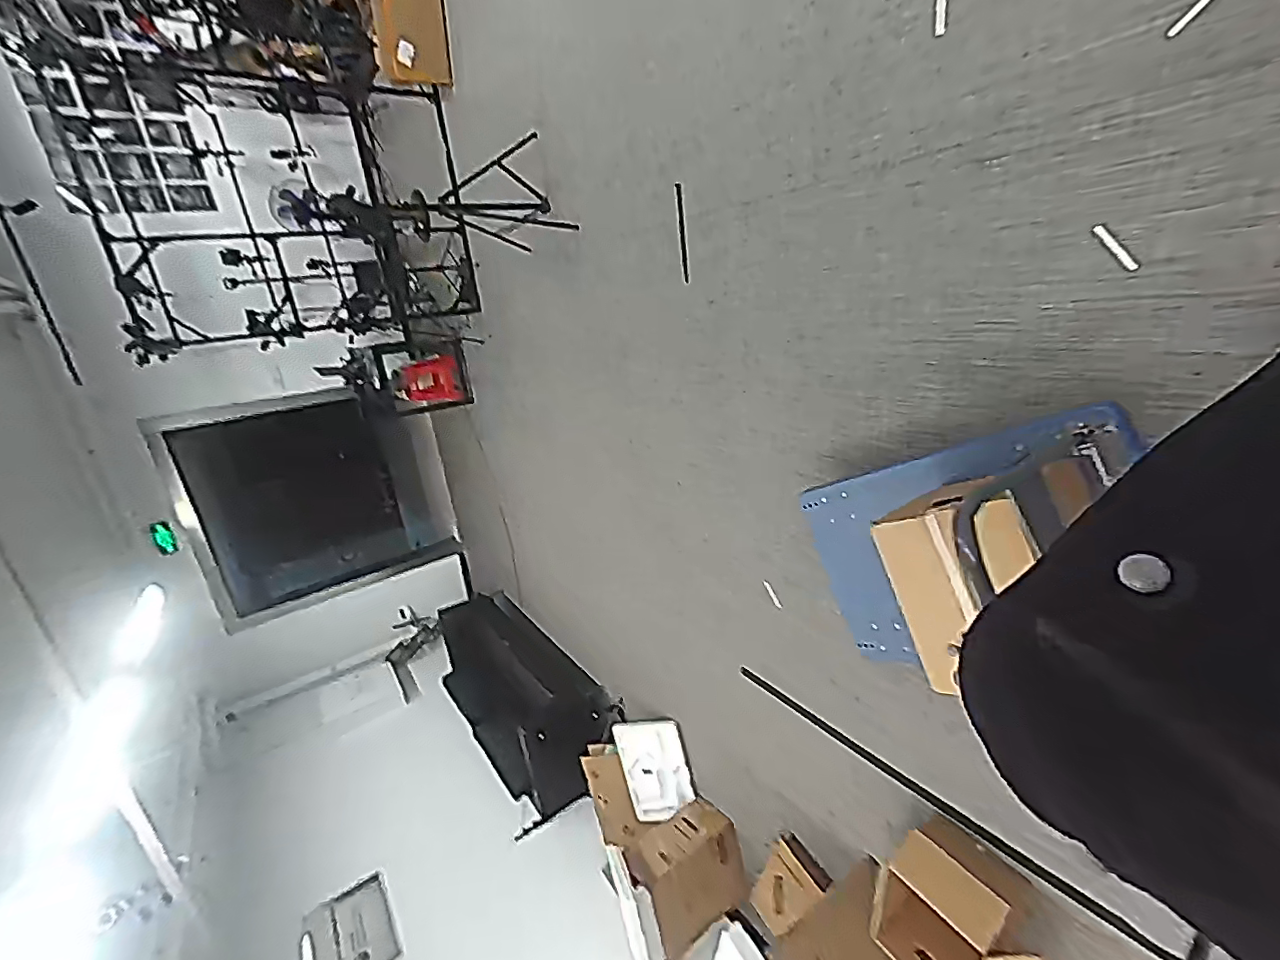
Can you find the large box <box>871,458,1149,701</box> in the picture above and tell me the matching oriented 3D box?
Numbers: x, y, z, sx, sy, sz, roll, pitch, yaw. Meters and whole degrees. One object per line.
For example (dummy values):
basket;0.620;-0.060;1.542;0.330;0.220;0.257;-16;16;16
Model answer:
large box;0.793;0.208;1.178;0.320;0.320;0.408;-26;83;58
